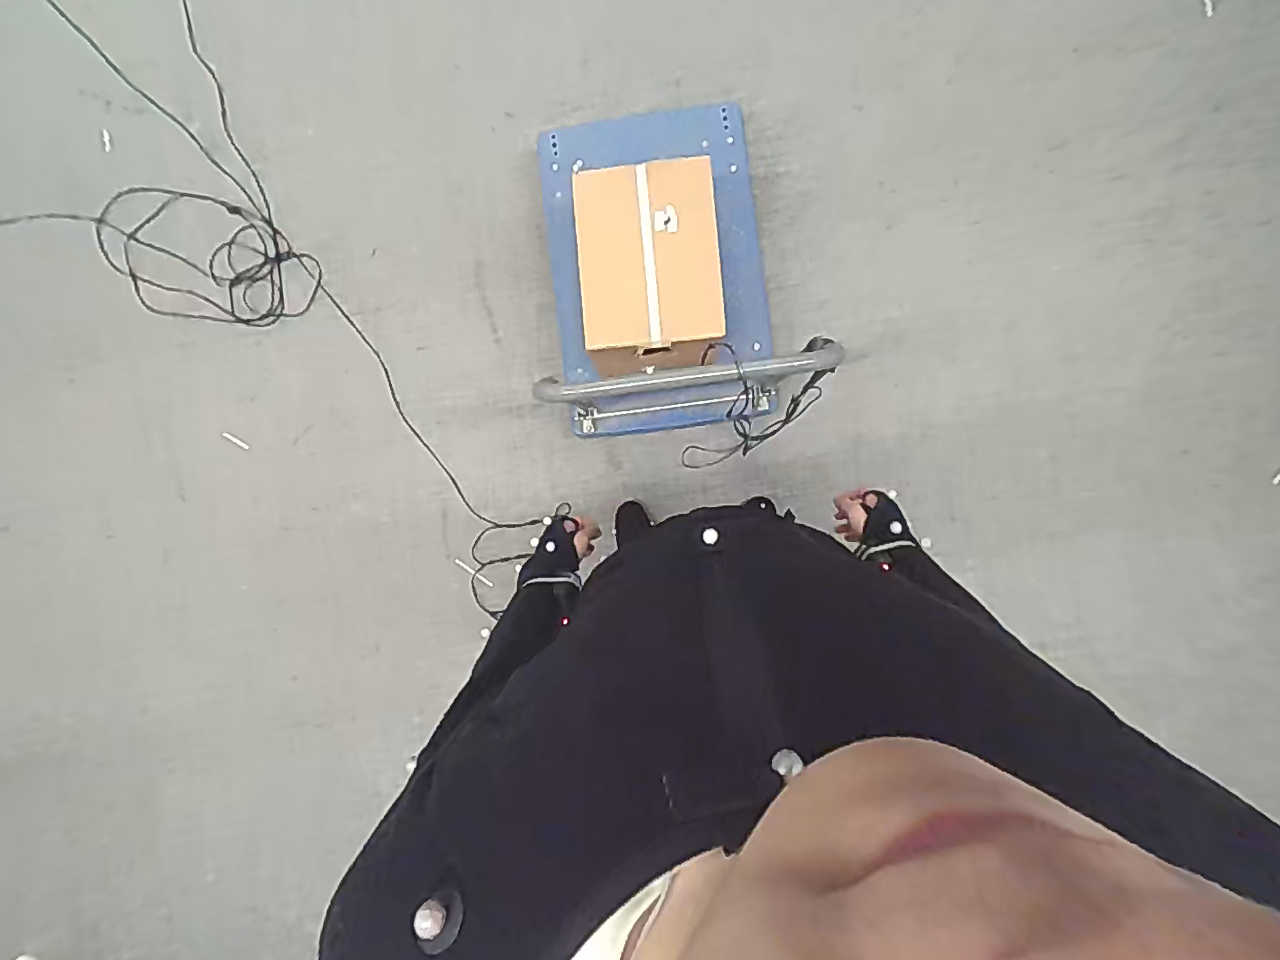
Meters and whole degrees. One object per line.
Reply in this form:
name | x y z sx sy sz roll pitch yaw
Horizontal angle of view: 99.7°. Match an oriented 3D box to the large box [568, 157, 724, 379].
large box | 0.019 -0.491 1.329 0.320 0.320 0.408 -5 88 2
